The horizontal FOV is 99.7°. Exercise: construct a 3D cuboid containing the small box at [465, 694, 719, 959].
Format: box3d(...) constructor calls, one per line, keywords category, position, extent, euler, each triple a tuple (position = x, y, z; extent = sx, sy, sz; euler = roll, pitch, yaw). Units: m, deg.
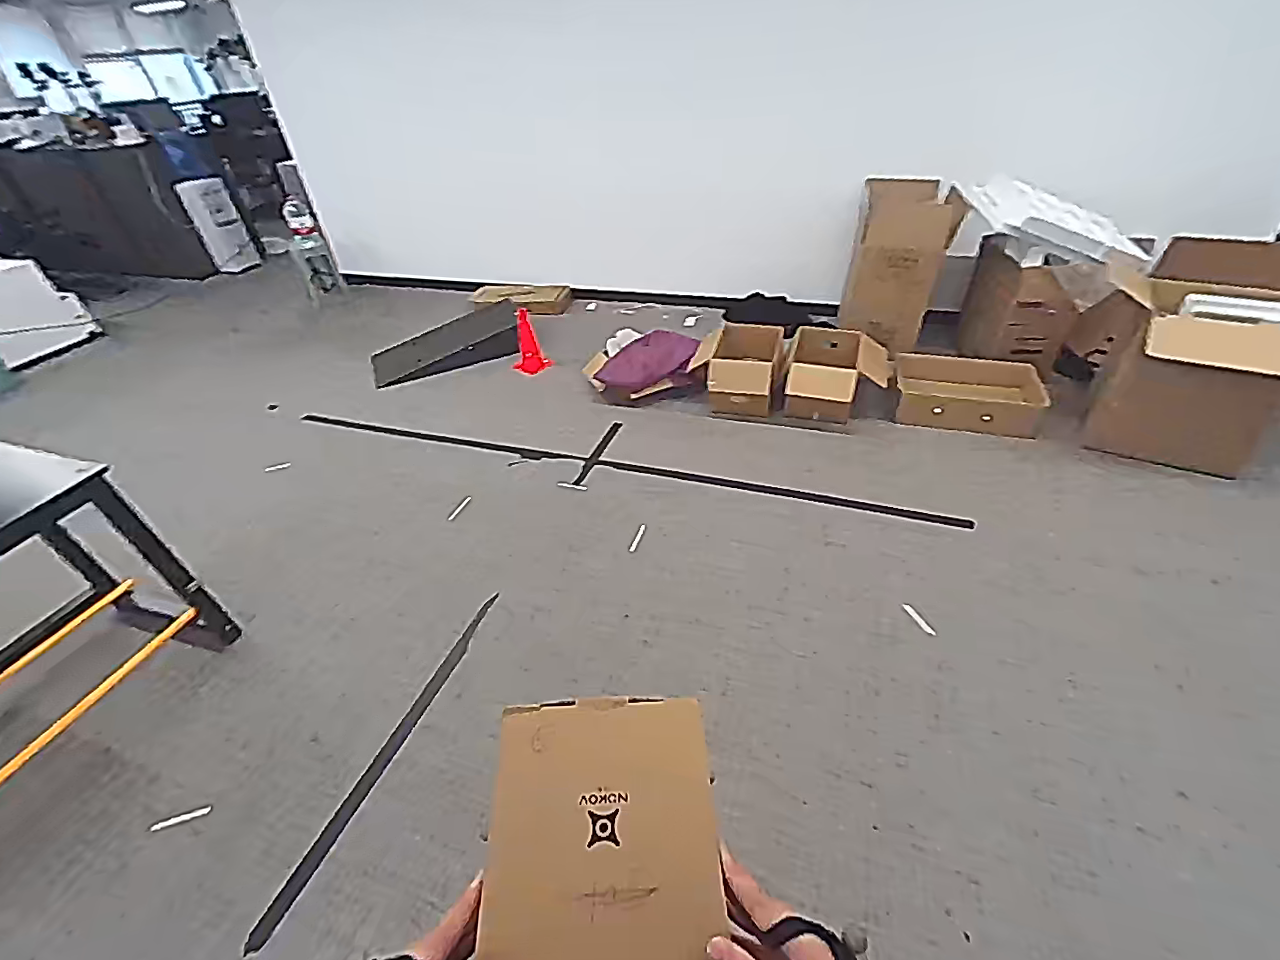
box3d(category="small box", position=(-0.036, 0.301, 0.457), extent=(0.168, 0.176, 0.179), euler=(-1, 48, -3))
